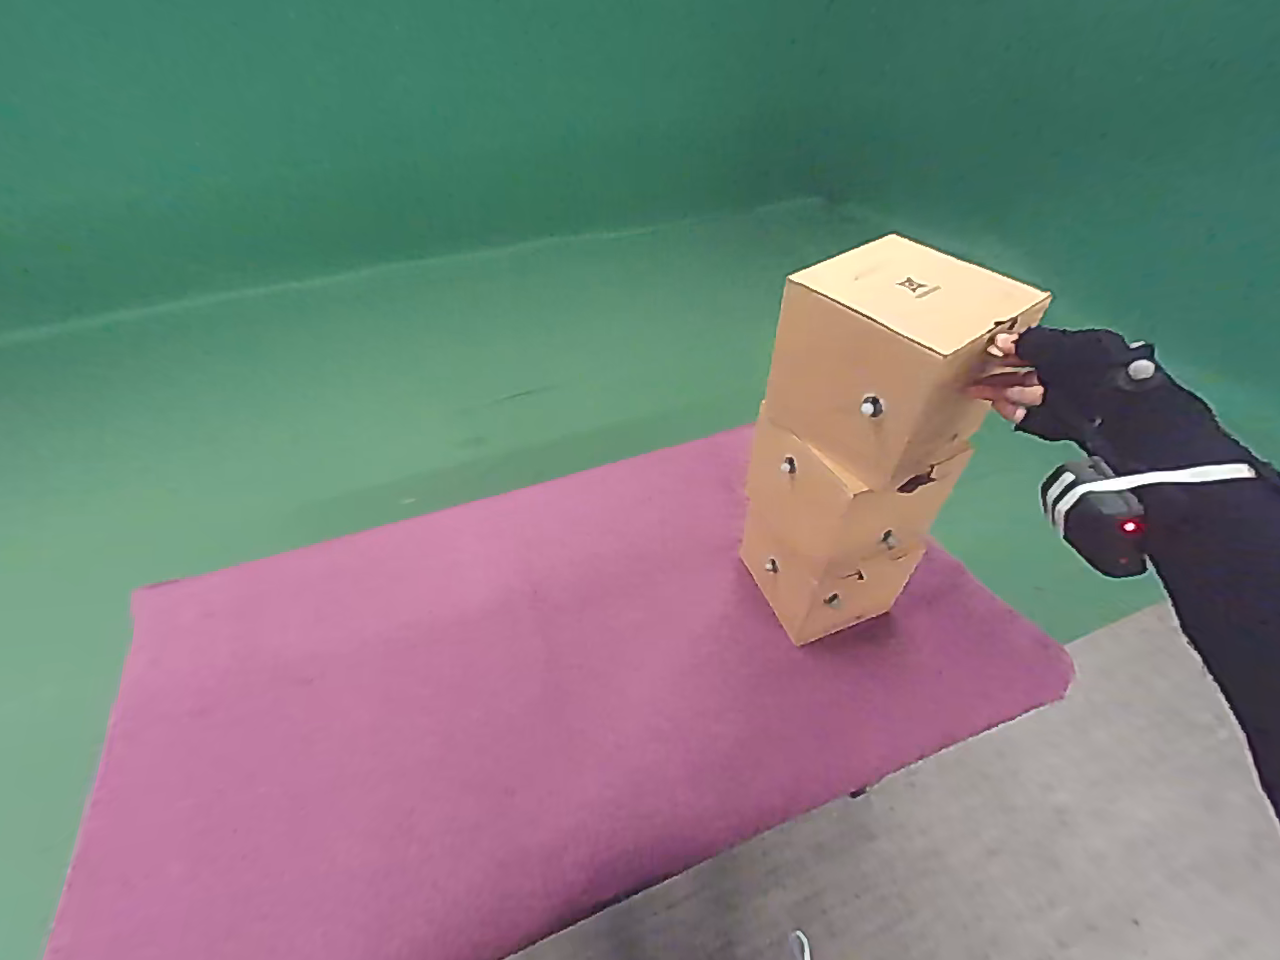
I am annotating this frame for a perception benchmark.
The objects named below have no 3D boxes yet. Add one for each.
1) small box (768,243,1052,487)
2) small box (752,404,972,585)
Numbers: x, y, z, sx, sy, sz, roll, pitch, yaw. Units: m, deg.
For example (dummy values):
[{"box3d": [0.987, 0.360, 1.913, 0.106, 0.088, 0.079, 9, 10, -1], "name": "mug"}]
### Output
[{"box3d": [0.259, -0.115, 0.563, 0.168, 0.176, 0.179, -27, 52, -23], "name": "small box"}, {"box3d": [0.258, -0.001, 0.680, 0.168, 0.176, 0.179, -19, 49, -14], "name": "small box"}]
